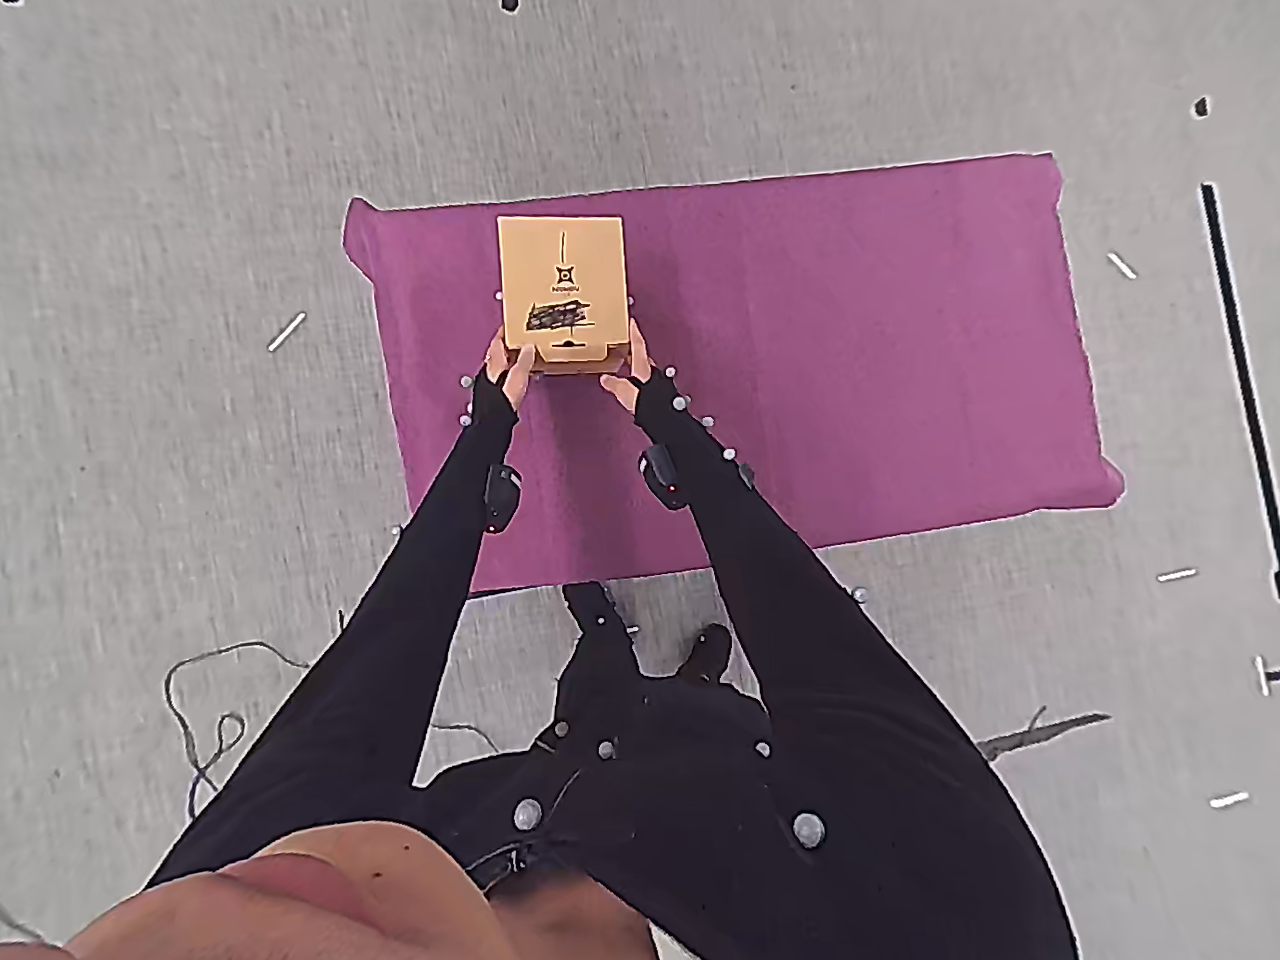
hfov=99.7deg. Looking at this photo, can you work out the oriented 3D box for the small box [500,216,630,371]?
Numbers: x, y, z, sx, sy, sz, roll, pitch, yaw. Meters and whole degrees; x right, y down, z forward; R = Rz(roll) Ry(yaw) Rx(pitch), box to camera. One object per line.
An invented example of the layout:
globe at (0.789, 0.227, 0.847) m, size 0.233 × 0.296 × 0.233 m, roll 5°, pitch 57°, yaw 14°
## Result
small box at (-0.107, -0.259, 0.791) m, size 0.168 × 0.176 × 0.179 m, roll -4°, pitch 89°, yaw -9°
